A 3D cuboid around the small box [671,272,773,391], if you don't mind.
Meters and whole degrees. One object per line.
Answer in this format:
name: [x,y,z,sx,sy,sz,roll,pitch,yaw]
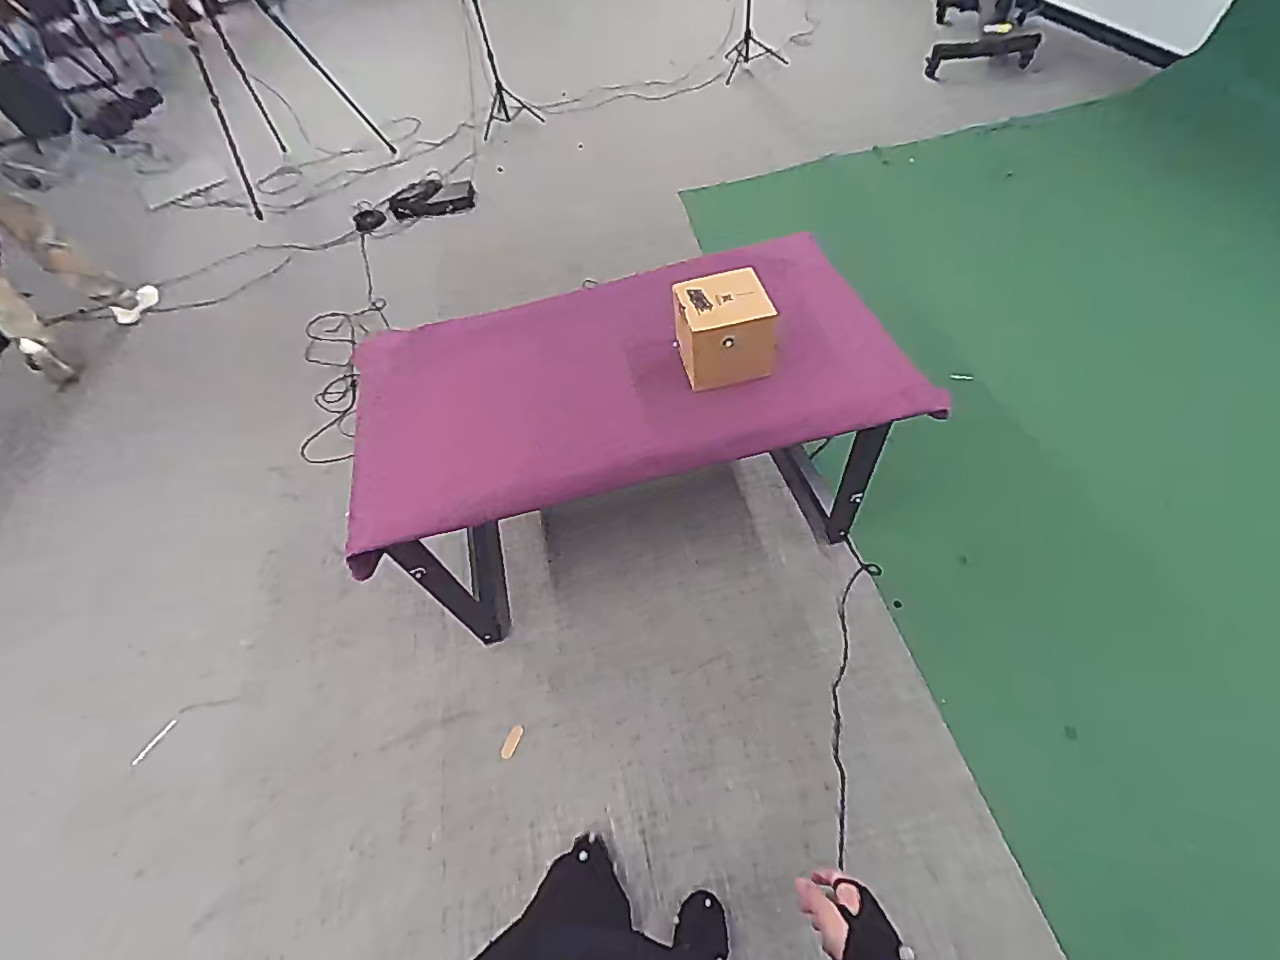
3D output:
small box: [0.174,-0.315,1.166,0.179,0.176,0.168,-12,55,-2]
